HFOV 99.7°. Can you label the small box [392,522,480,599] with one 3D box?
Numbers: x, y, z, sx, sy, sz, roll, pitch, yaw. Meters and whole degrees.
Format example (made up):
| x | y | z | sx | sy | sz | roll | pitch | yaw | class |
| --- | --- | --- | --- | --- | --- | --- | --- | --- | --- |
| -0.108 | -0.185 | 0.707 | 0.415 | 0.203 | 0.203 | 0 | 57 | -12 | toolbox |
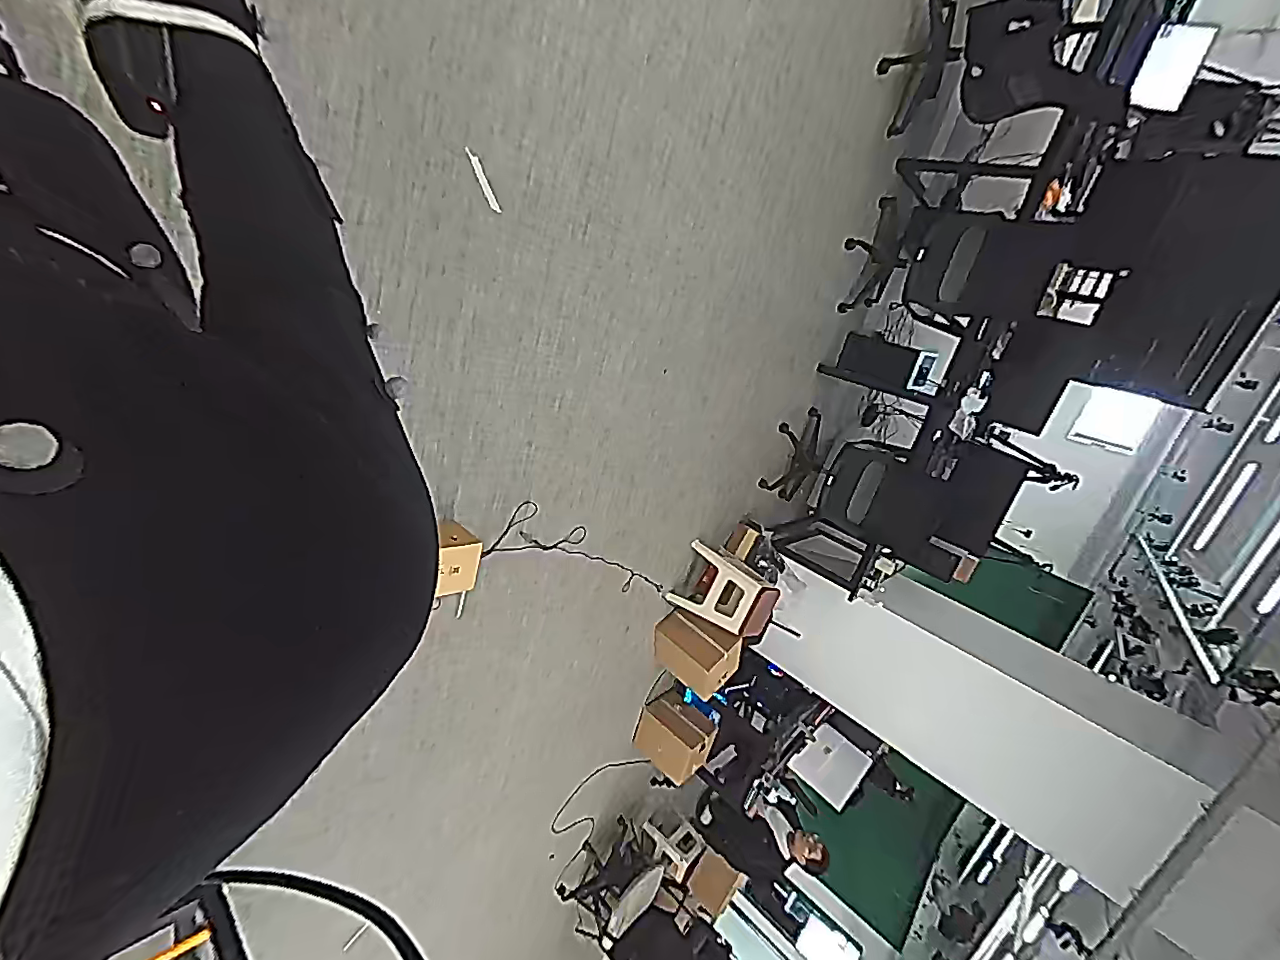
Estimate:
| x | y | z | sx | sy | sz | roll | pitch | yaw | class |
| --- | --- | --- | --- | --- | --- | --- | --- | --- | --- |
| -0.624 | 0.236 | 1.648 | 0.179 | 0.176 | 0.168 | -2 | 113 | -51 | small box |
